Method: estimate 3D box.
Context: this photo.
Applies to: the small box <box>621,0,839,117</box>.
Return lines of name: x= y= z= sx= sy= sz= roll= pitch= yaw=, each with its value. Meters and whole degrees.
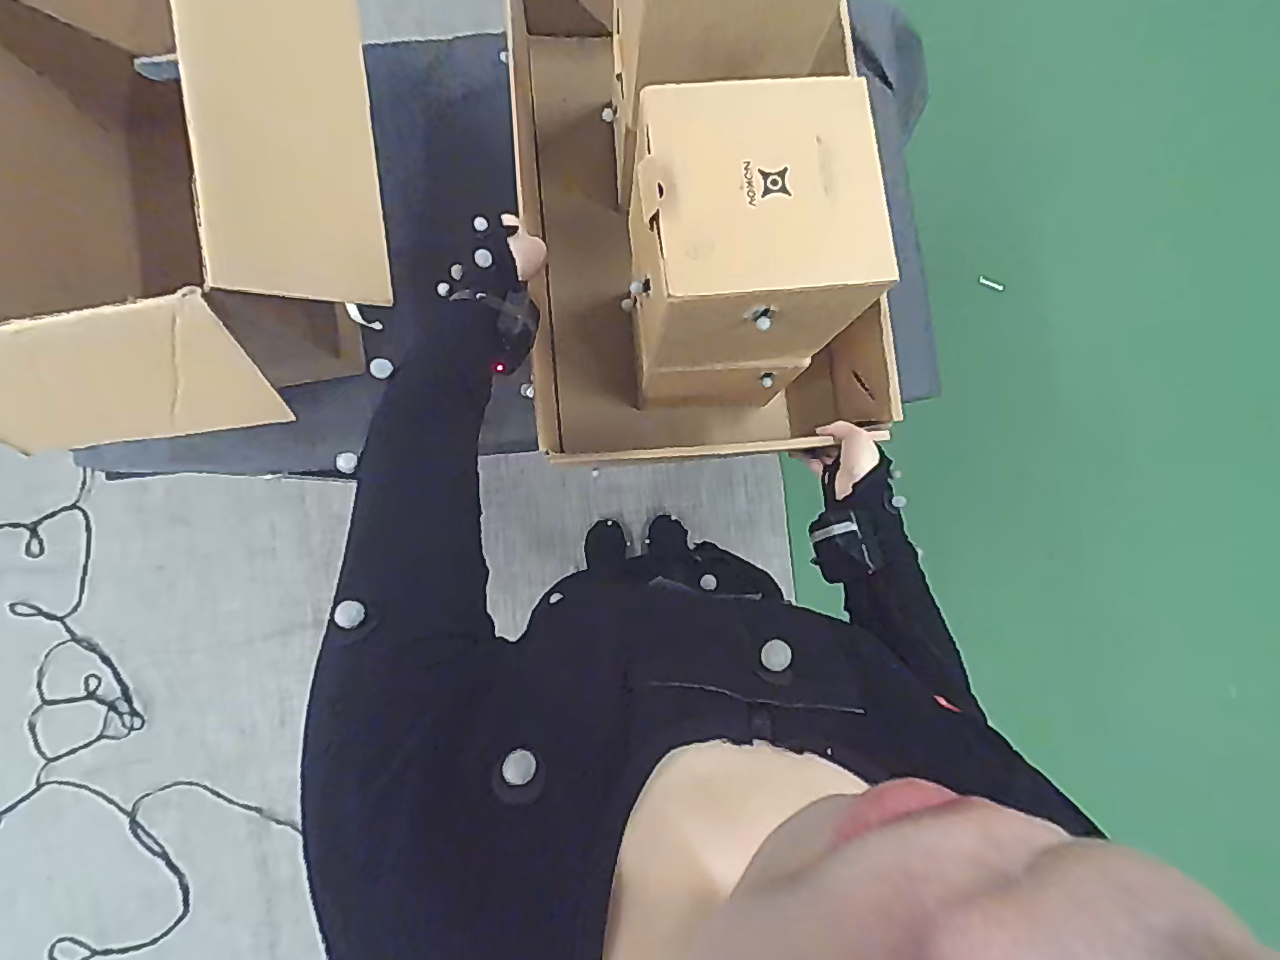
small box: x=0.070 y=-0.464 z=0.498 sx=0.168 sy=0.176 sz=0.179 roll=-4 pitch=87 yaw=-4

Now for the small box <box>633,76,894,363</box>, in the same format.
small box: x=0.088 y=-0.211 z=0.478 sx=0.179 sy=0.176 sz=0.168 roll=-6 pitch=85 yaw=-5
